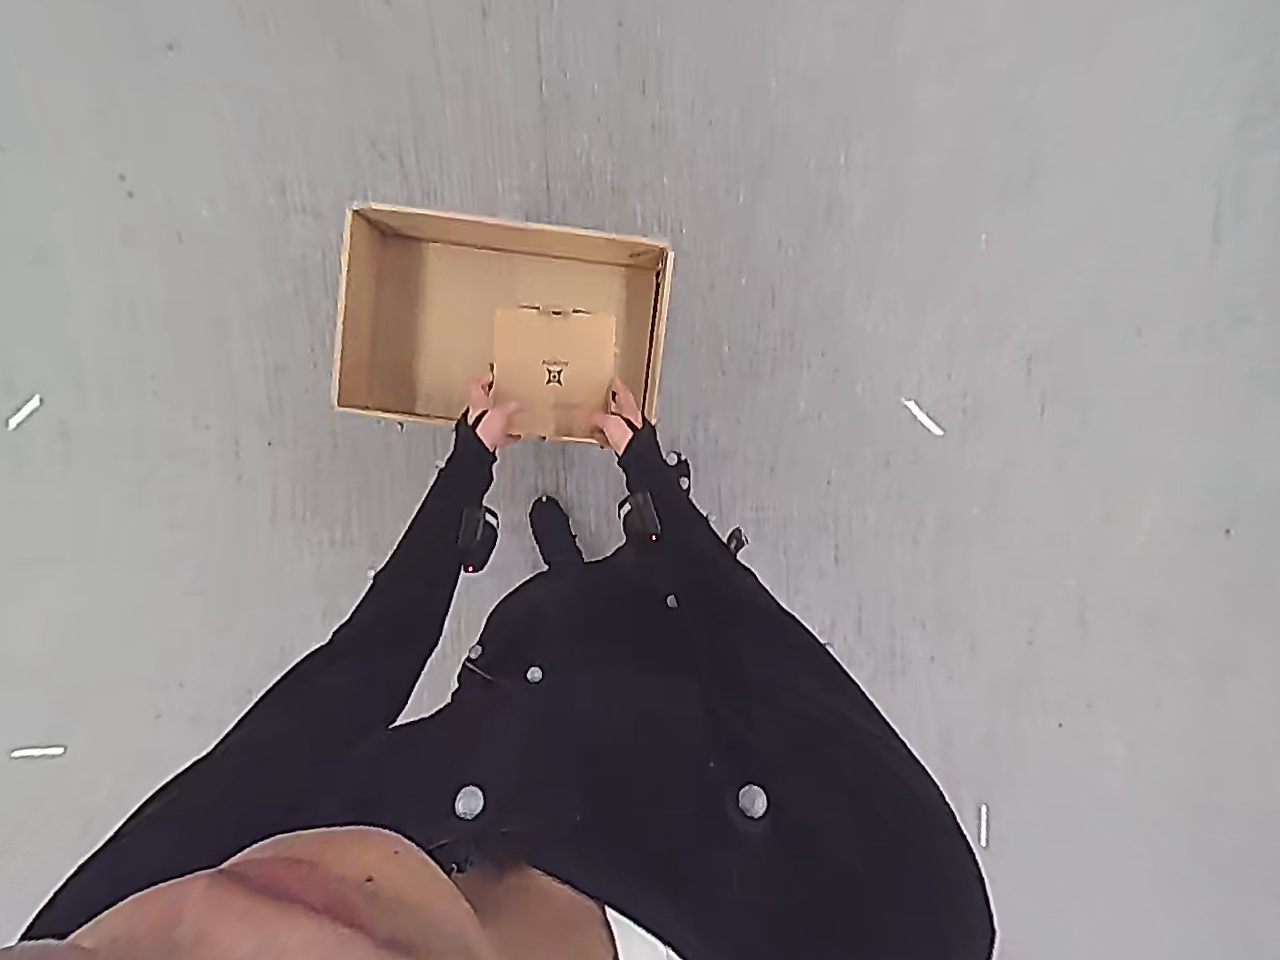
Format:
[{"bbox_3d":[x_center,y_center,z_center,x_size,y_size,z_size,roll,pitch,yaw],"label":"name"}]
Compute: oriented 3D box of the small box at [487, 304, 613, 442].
[{"bbox_3d":[-0.135,-0.154,0.813,0.168,0.176,0.179,2,98,-9],"label":"small box"}]
